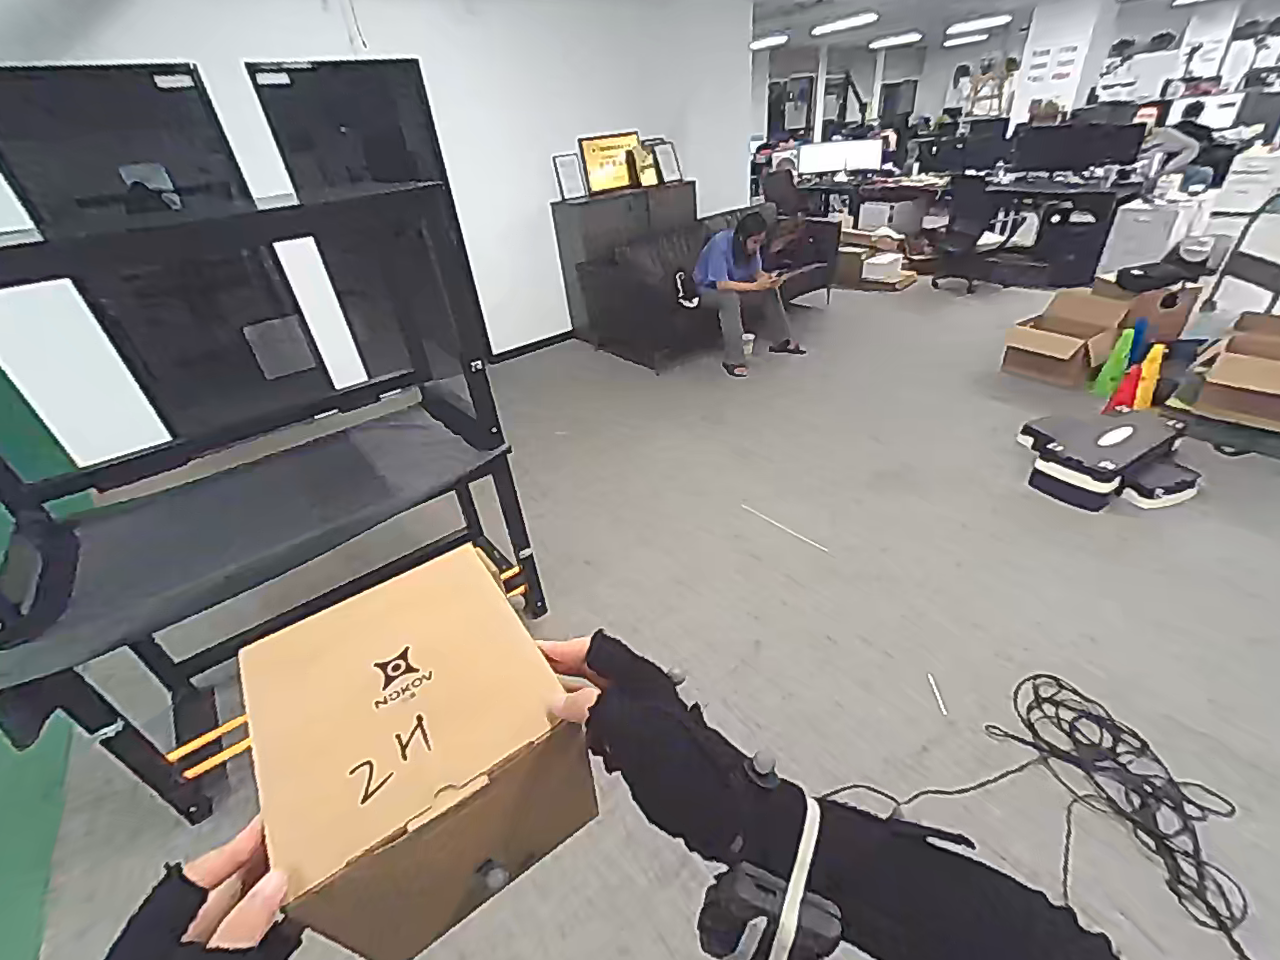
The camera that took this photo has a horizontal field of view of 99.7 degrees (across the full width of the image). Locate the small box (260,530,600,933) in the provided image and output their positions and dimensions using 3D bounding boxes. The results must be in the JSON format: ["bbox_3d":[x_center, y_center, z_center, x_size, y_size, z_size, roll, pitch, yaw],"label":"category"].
[{"bbox_3d":[-0.144,0.174,0.398,0.168,0.176,0.179,-25,44,-24],"label":"small box"}]
